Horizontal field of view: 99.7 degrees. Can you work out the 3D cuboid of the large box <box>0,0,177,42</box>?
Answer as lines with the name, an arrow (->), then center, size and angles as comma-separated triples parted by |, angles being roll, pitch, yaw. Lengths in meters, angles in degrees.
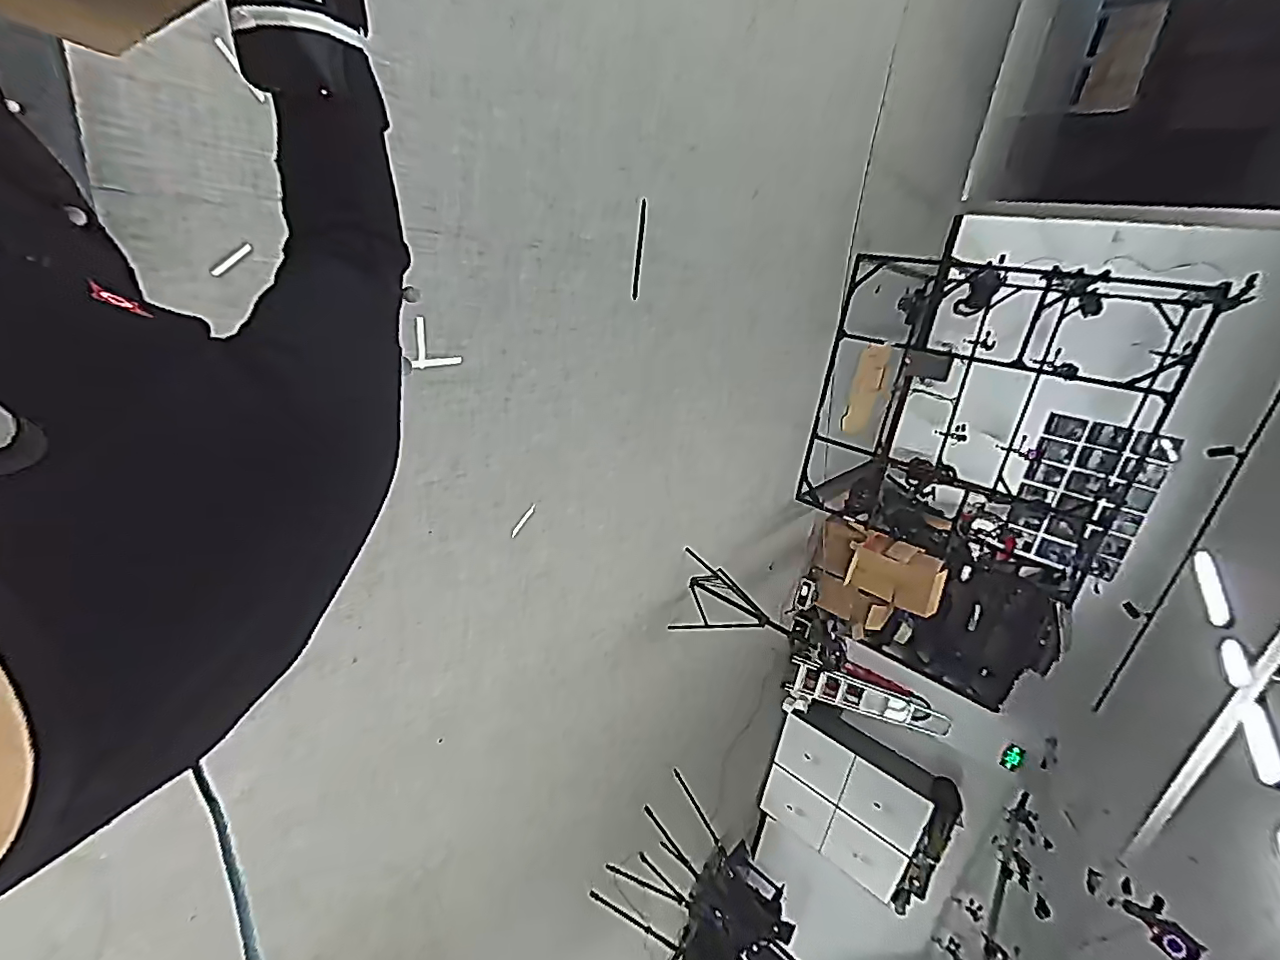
large box -> -0.464, -0.467, 0.215 | 0.408, 0.320, 0.320 | -10, 118, -51
